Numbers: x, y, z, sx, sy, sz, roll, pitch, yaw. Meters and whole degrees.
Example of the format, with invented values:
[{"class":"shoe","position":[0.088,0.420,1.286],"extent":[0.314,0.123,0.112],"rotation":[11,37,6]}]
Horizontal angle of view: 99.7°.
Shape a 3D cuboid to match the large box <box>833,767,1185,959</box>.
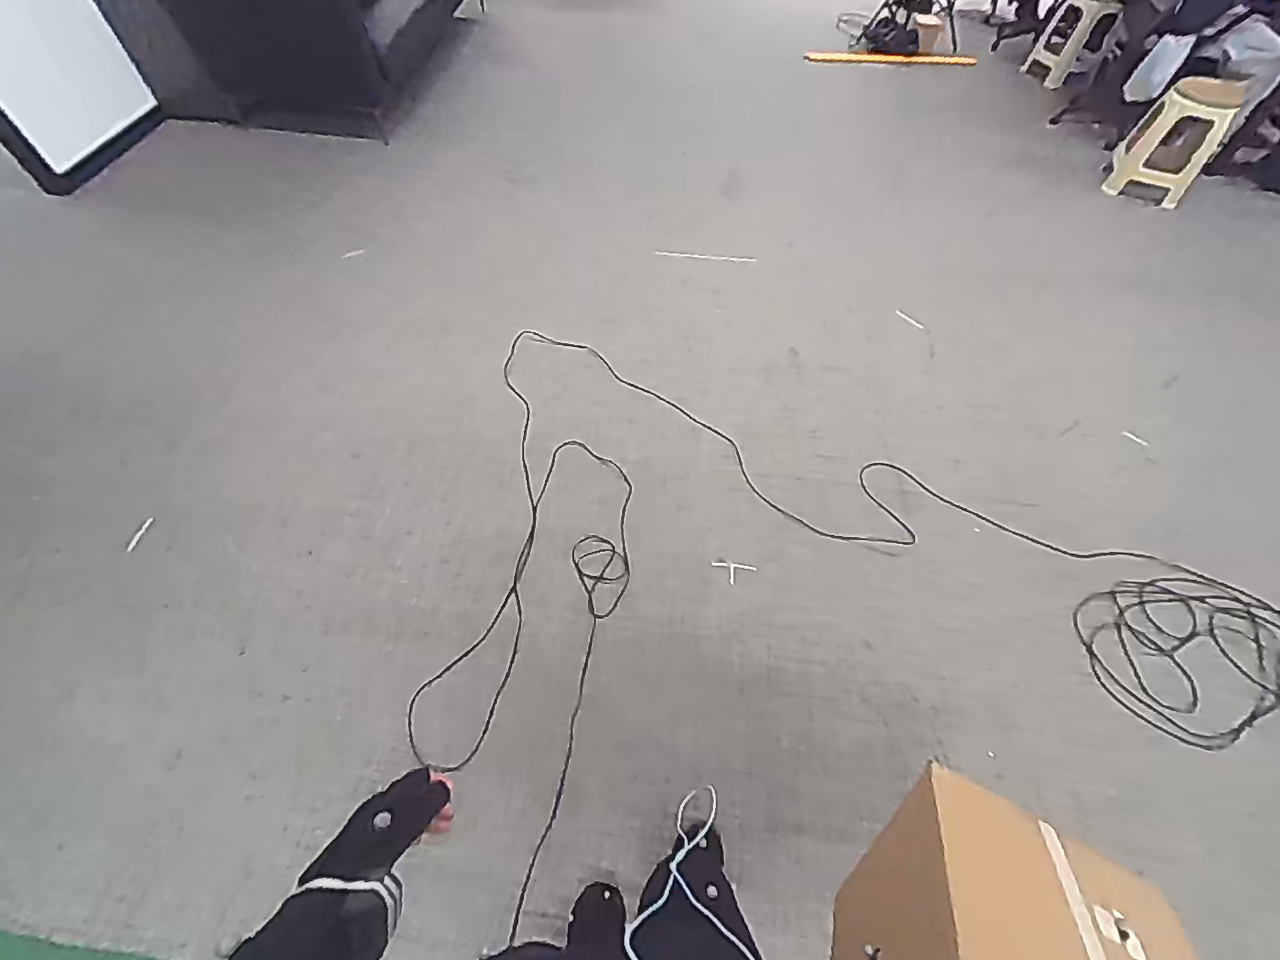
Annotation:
[{"class":"large box","position":[0.436,0.665,0.643],"extent":[0.320,0.320,0.408],"rotation":[28,20,15]}]
